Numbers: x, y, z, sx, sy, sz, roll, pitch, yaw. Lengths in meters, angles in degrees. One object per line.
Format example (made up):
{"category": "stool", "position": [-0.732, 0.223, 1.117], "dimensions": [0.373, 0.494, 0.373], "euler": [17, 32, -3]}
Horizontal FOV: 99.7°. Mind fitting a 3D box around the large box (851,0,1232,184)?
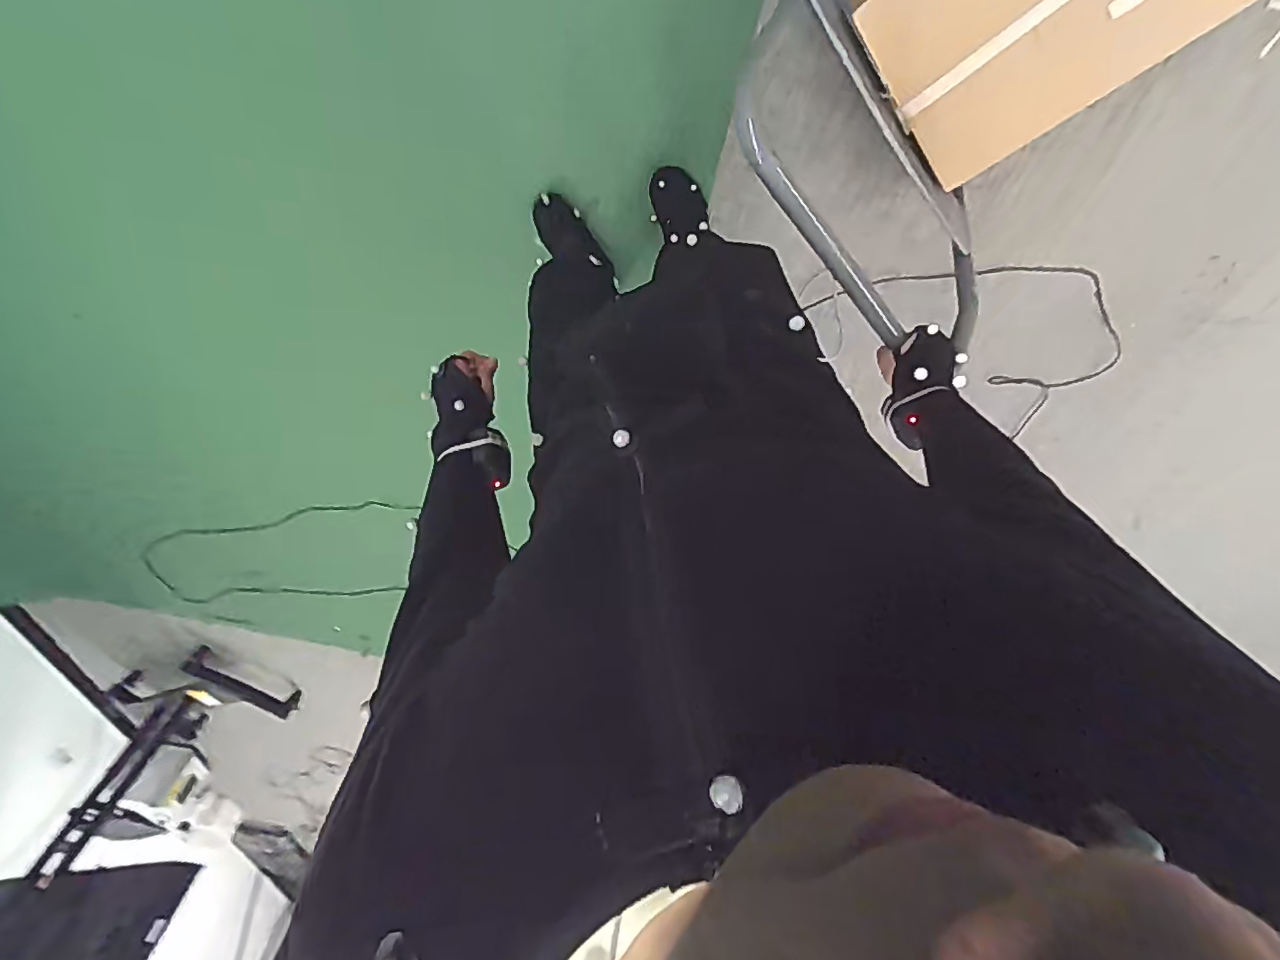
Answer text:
{"category": "large box", "position": [0.570, -0.746, 0.788], "dimensions": [0.320, 0.320, 0.408], "euler": [40, 136, -26]}
